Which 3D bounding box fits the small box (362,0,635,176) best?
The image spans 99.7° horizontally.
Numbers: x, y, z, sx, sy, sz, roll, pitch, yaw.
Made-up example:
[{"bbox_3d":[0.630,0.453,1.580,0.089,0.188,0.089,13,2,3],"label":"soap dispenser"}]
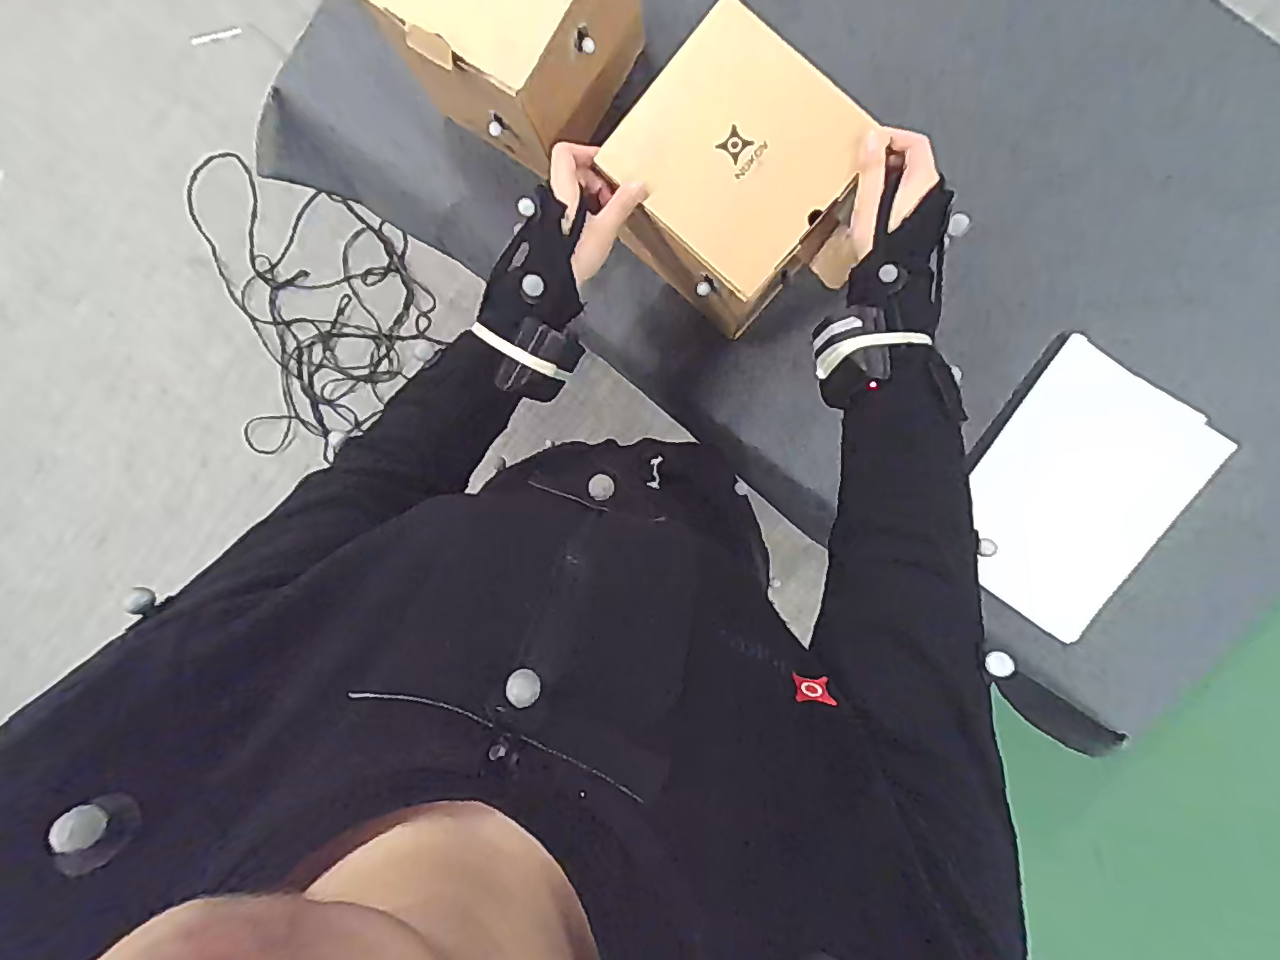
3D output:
[{"bbox_3d":[-0.115,-0.434,0.511,0.168,0.176,0.179,33,95,0],"label":"small box"}]
